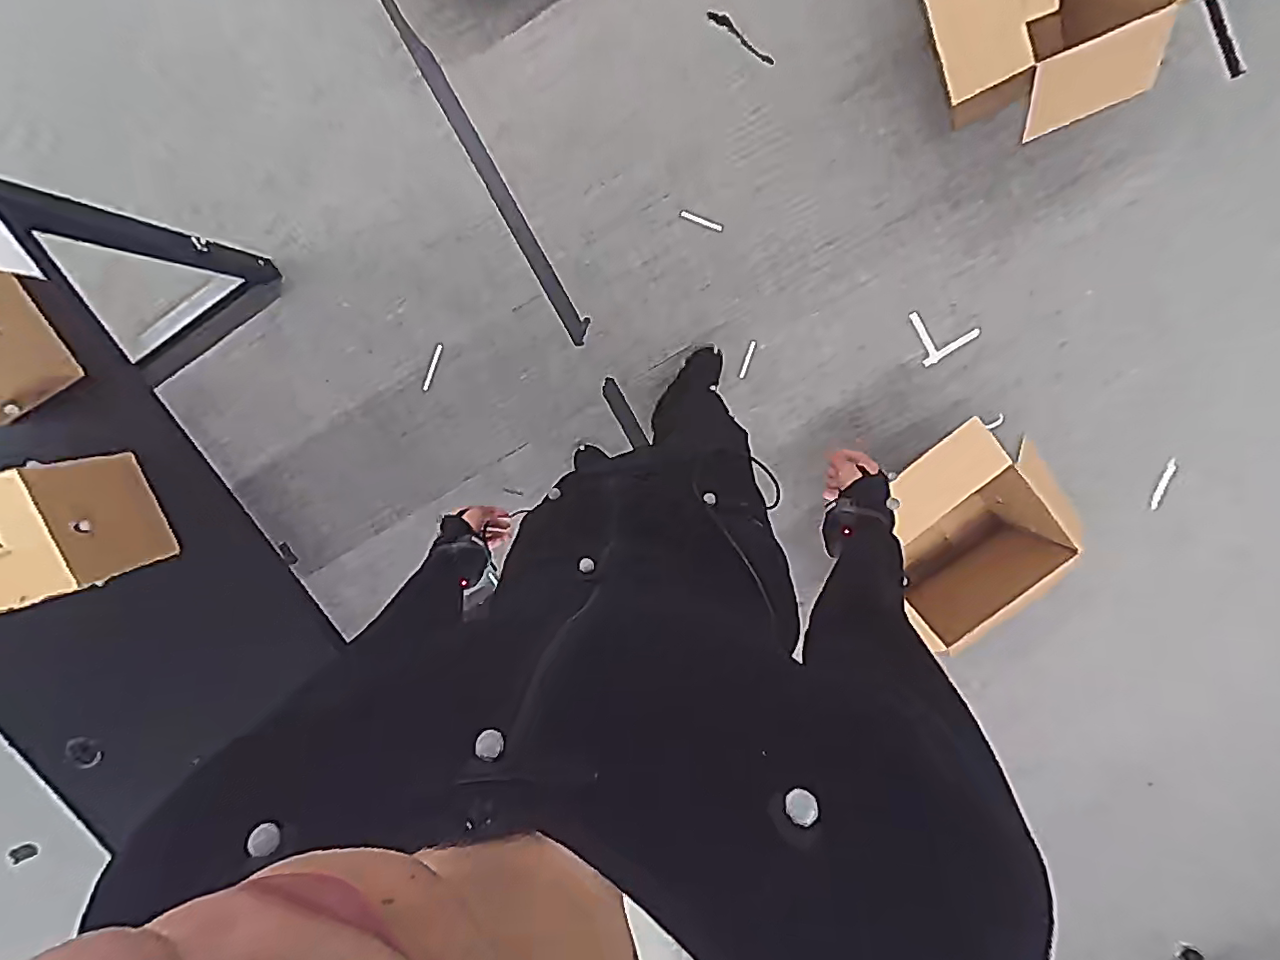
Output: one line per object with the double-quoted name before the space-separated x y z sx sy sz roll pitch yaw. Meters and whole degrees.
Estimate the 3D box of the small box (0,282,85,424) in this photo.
"small box" -0.964 -0.177 0.752 0.168 0.176 0.179 -28 101 6

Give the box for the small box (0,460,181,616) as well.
"small box" -0.856 0.076 0.805 0.168 0.176 0.179 -17 101 4
